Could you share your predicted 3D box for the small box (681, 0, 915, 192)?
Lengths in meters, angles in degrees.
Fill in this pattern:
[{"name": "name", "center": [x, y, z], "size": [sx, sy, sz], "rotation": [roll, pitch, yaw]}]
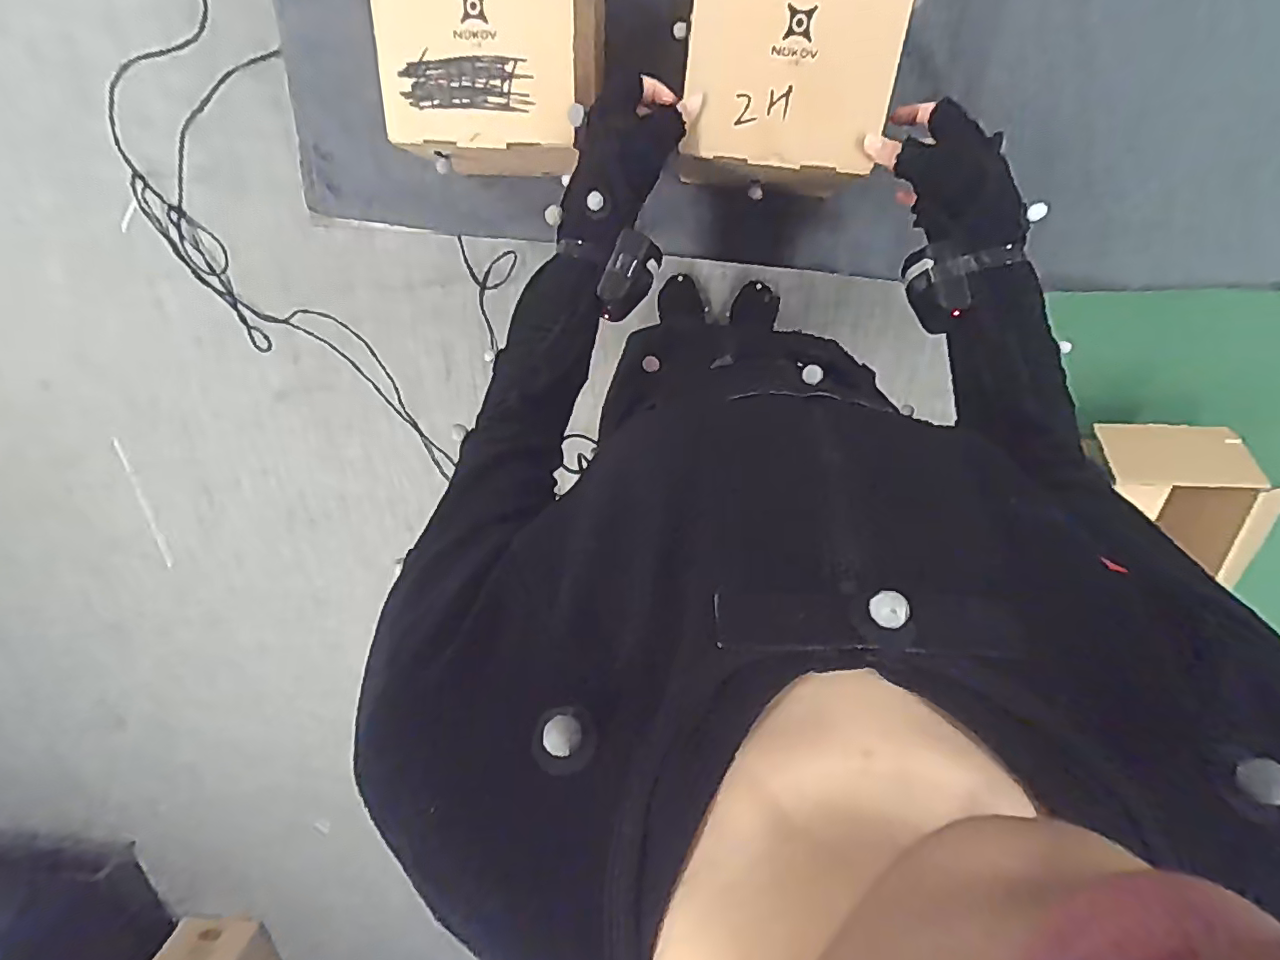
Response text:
[{"name": "small box", "center": [0.128, -0.376, 0.493], "size": [0.168, 0.176, 0.179], "rotation": [7, 114, 2]}]
